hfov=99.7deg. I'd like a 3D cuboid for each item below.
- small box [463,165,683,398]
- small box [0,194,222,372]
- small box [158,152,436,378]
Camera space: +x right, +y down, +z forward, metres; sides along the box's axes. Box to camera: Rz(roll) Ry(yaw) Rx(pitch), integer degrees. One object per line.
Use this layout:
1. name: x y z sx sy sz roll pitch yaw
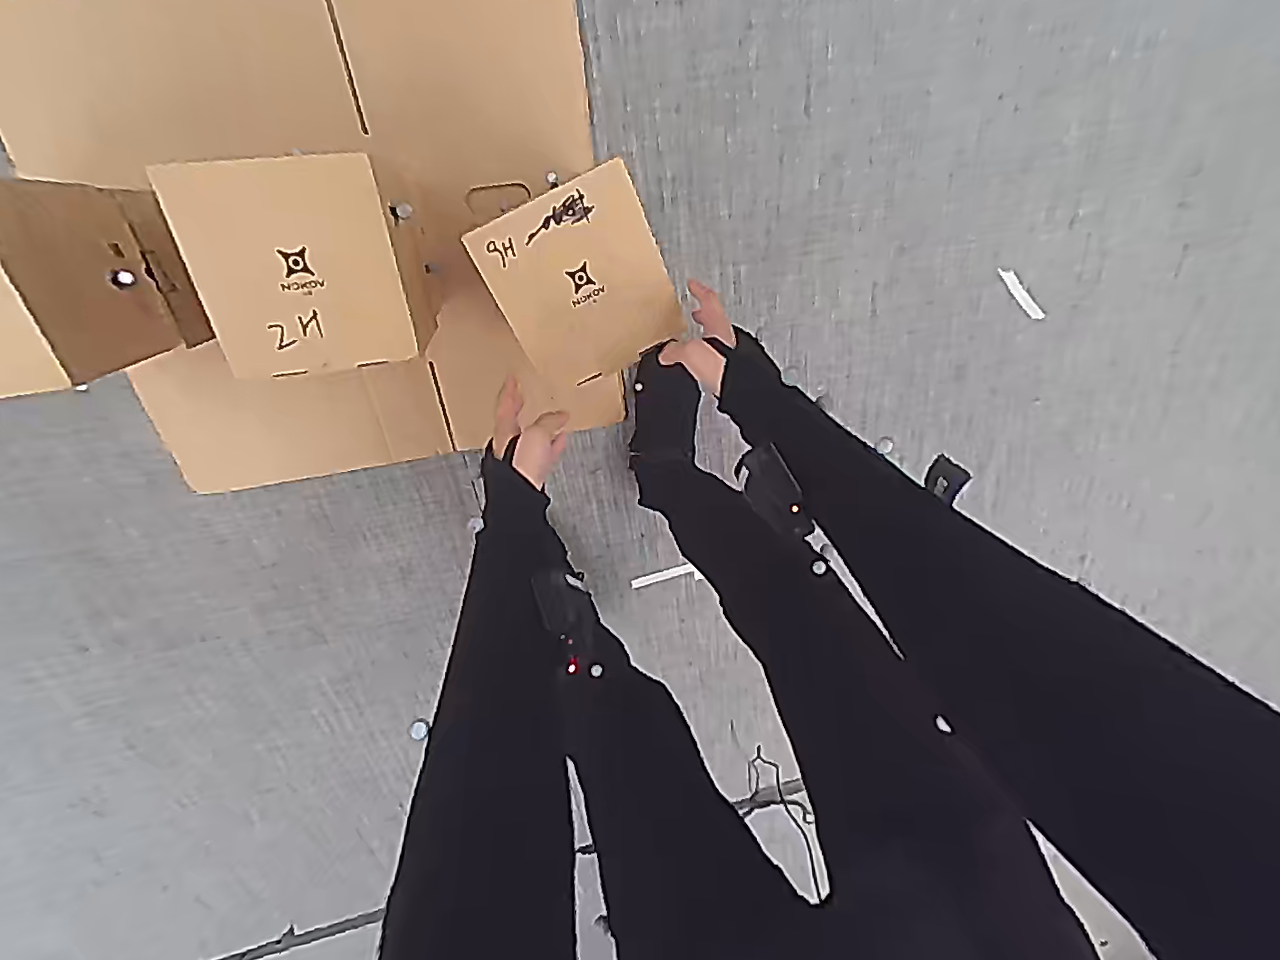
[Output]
1. small box: -0.074 -0.224 0.604 0.168 0.176 0.179 -27 120 0
2. small box: -0.619 -0.241 0.641 0.179 0.176 0.168 -11 118 -8
3. small box: -0.314 -0.217 0.544 0.168 0.176 0.179 -10 118 -10
